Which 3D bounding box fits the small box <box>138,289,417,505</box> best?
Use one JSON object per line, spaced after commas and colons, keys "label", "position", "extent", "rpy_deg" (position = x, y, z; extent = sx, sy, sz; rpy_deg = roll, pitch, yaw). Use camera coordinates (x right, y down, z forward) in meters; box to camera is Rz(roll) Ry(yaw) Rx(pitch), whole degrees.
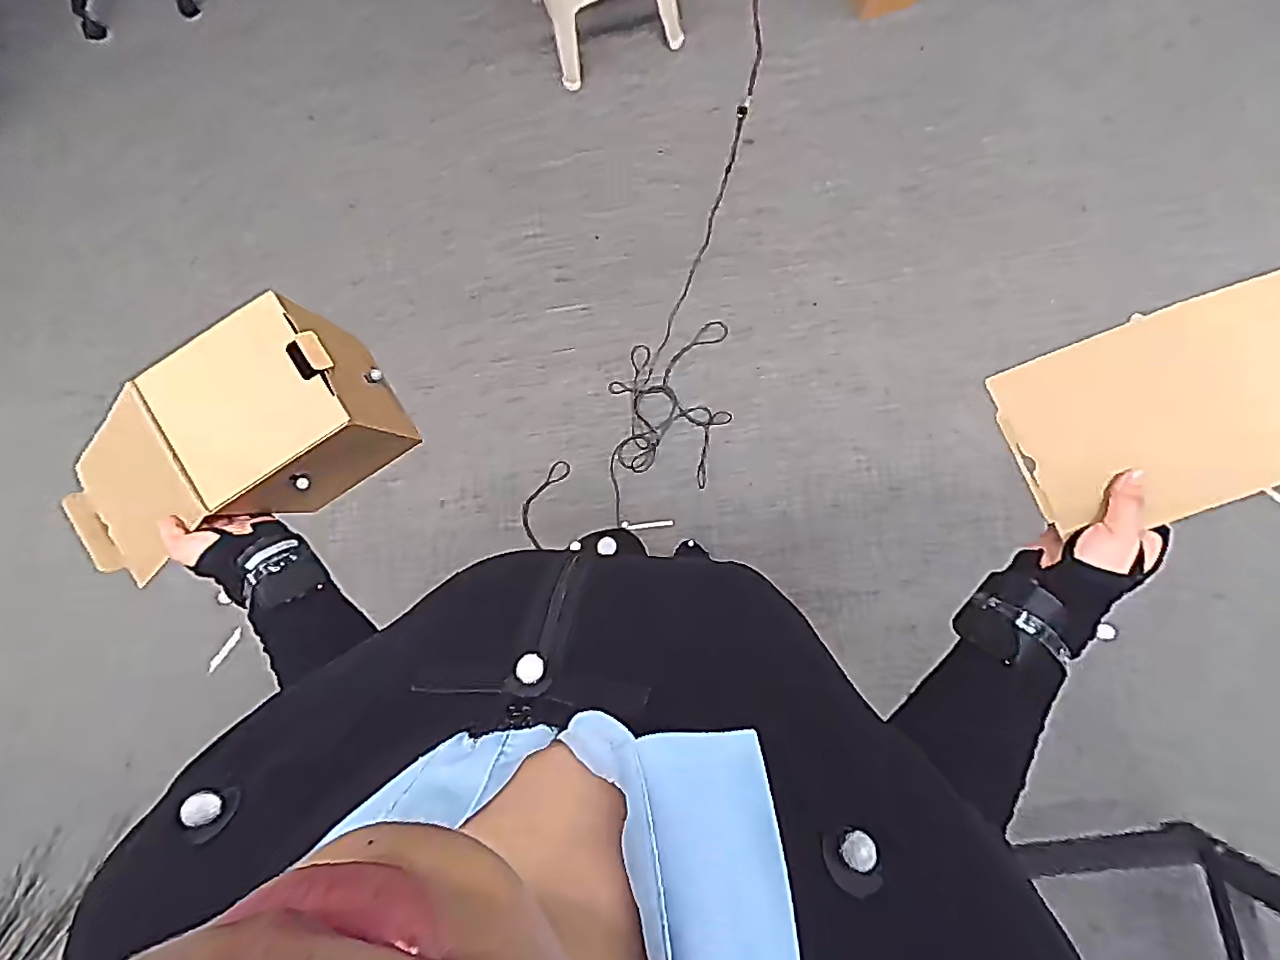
{"label": "small box", "position": [-0.402, -0.081, 0.633], "extent": [0.179, 0.176, 0.168], "rpy_deg": [-32, 88, 0]}
